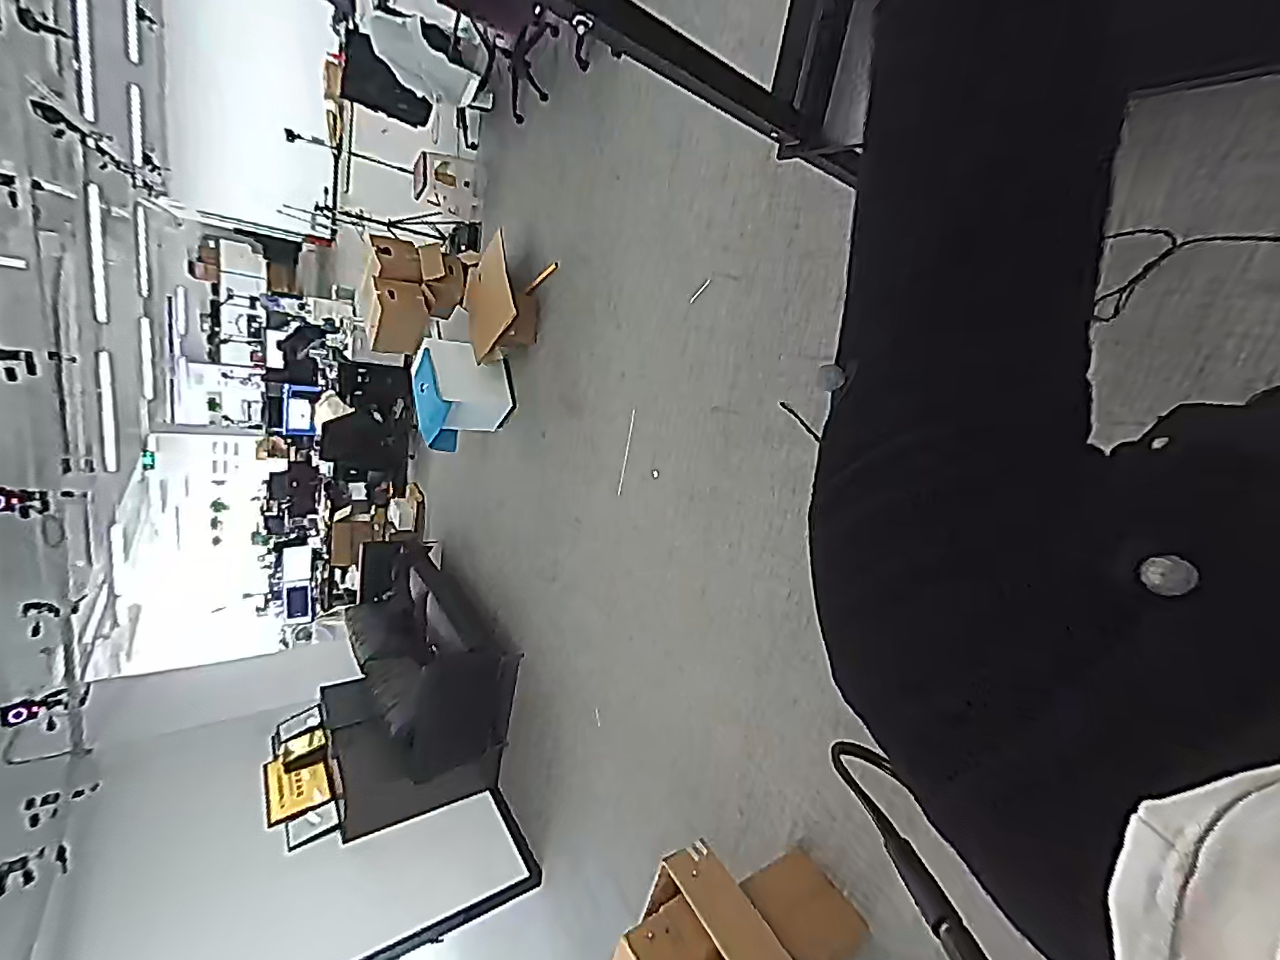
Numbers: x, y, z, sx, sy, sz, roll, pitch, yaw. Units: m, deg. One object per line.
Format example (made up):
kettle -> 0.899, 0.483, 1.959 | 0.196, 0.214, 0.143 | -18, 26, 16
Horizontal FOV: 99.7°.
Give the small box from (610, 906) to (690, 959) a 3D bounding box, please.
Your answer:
small box -> 0.033, 1.492, 1.685 | 0.168, 0.176, 0.179 | 37, 119, 47
